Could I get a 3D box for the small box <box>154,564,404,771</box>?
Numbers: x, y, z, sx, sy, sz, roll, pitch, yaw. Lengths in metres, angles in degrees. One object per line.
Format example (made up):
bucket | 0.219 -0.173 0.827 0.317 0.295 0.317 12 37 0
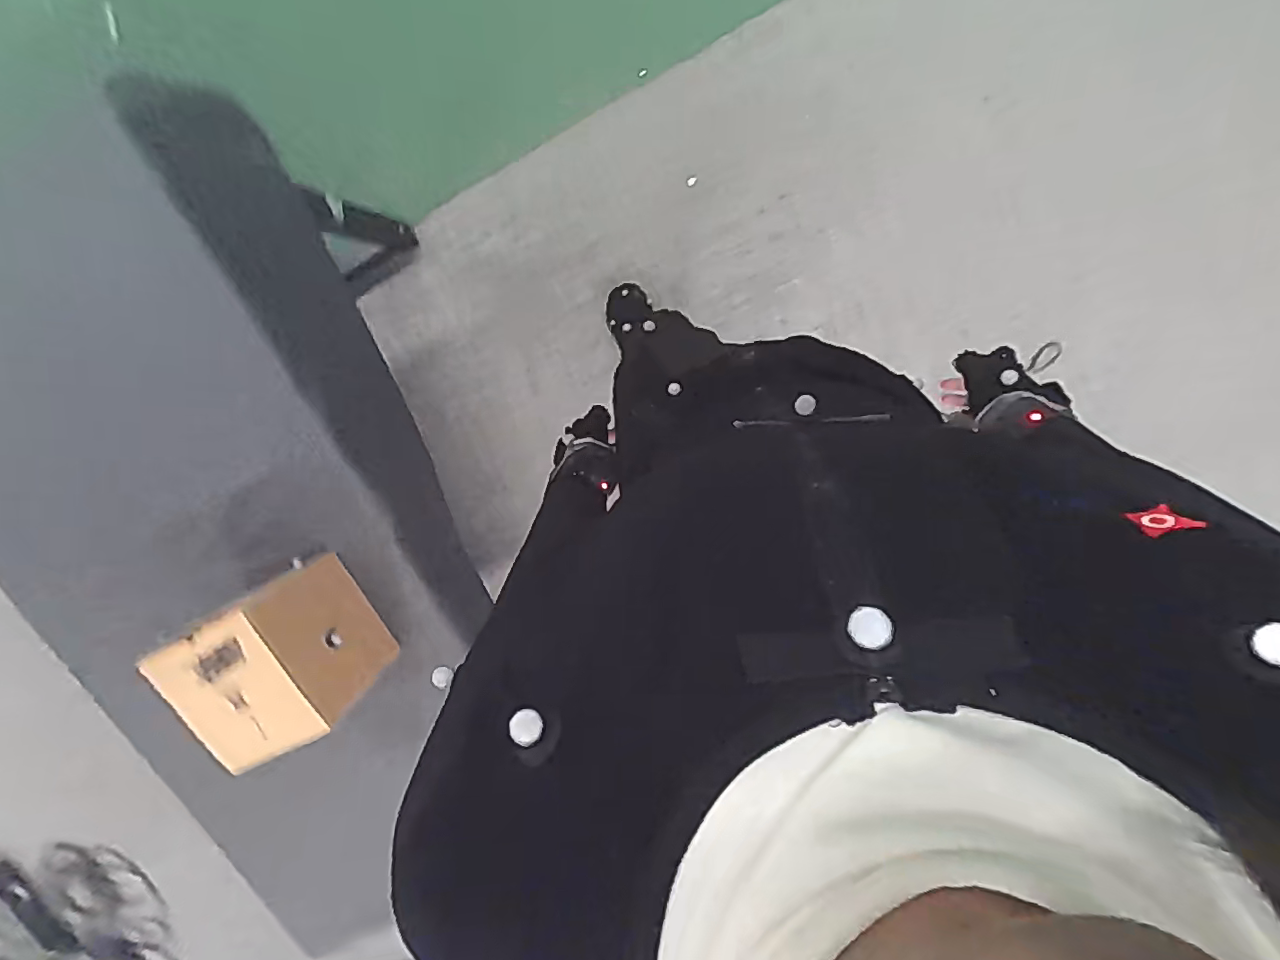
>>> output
small box | -0.457 0.232 0.714 0.168 0.176 0.179 -26 103 12
